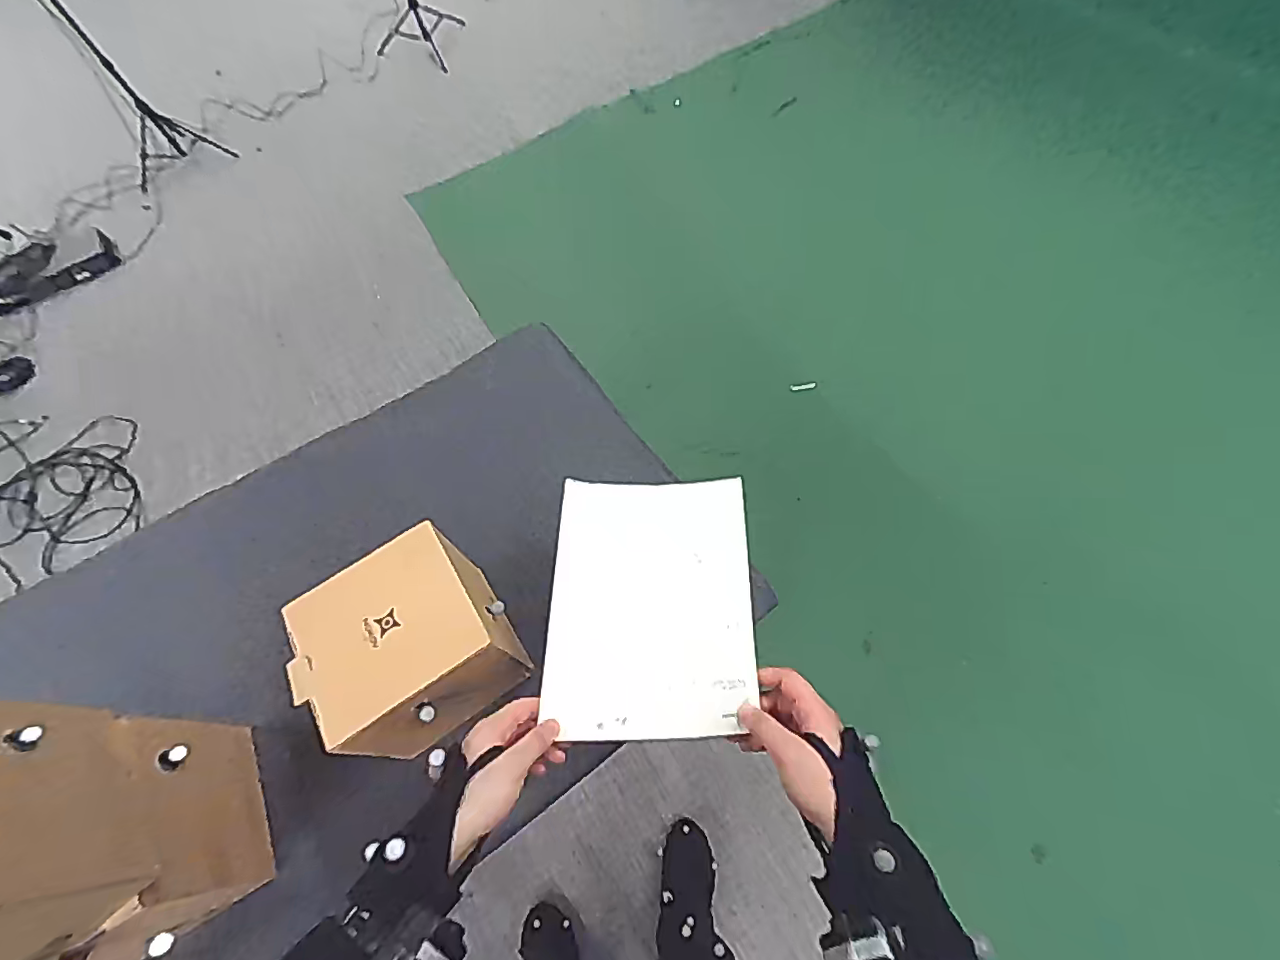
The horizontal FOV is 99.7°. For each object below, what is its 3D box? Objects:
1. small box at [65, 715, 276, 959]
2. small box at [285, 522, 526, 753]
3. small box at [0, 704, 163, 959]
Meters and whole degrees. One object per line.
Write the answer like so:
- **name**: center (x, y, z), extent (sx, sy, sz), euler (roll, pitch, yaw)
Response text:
- **small box**: center (-0.514, 0.369, 0.549), extent (0.168, 0.176, 0.179), euler (-30, 63, -9)
- **small box**: center (-0.249, 0.184, 0.617), extent (0.179, 0.176, 0.168), euler (-34, 63, -10)
- **small box**: center (-0.526, 0.293, 0.406), extent (0.168, 0.176, 0.179), euler (-41, 66, -13)
